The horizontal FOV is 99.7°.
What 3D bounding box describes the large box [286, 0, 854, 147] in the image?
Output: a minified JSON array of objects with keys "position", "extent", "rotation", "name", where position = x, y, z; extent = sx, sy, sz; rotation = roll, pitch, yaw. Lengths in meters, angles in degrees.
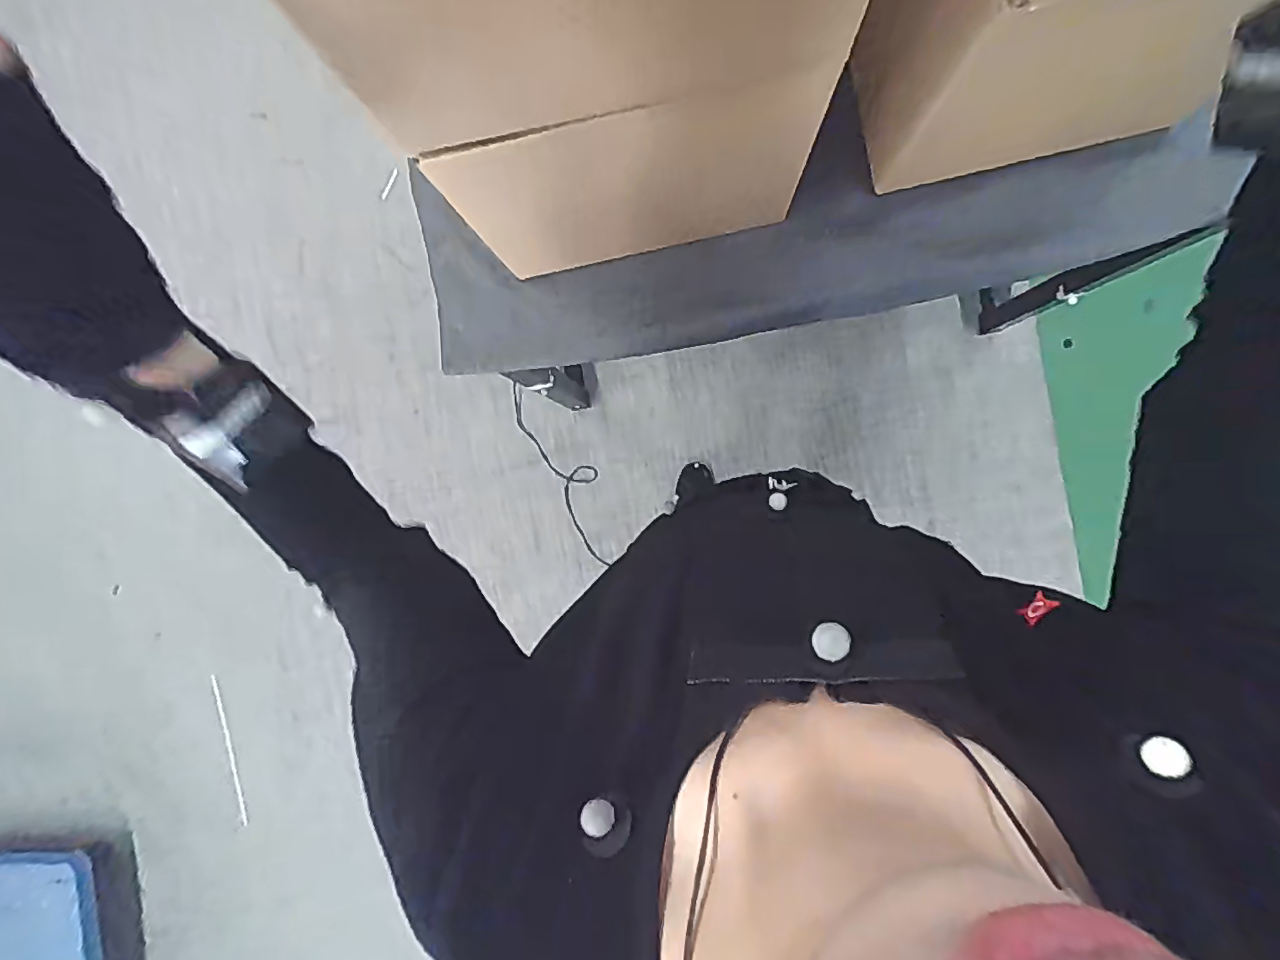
[{"position":[-0.059,-0.483,0.335],"extent":[0.408,0.320,0.320],"rotation":[-10,89,3],"name":"large box"}]
